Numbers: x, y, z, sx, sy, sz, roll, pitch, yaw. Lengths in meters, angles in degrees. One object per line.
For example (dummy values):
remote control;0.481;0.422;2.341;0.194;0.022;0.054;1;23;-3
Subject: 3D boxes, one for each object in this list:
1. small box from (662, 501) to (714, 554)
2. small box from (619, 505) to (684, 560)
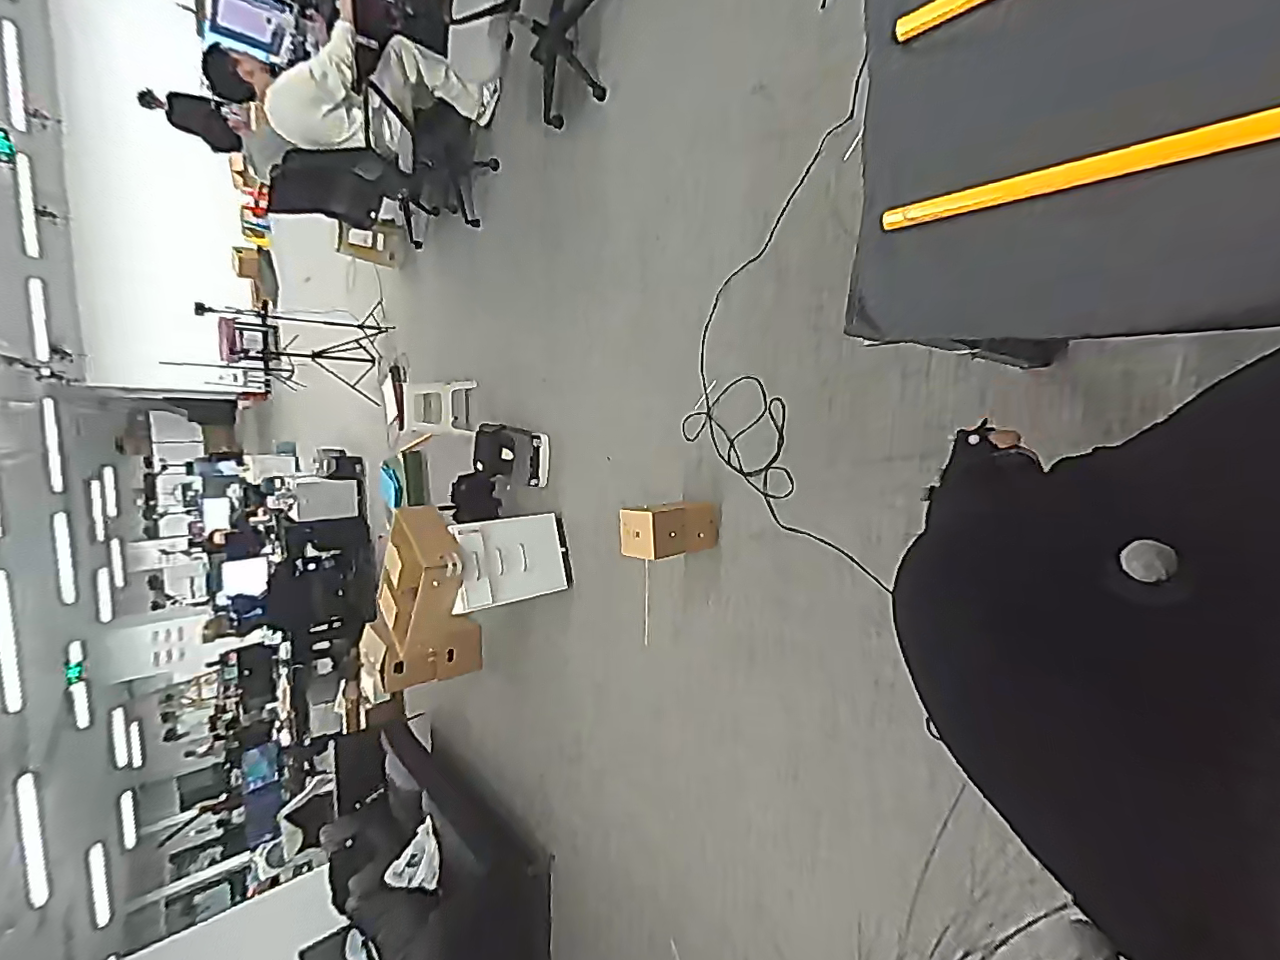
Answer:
small box;0.164;0.172;2.034;0.179;0.176;0.168;3;97;49
small box;0.045;0.180;1.919;0.179;0.176;0.168;1;95;49
